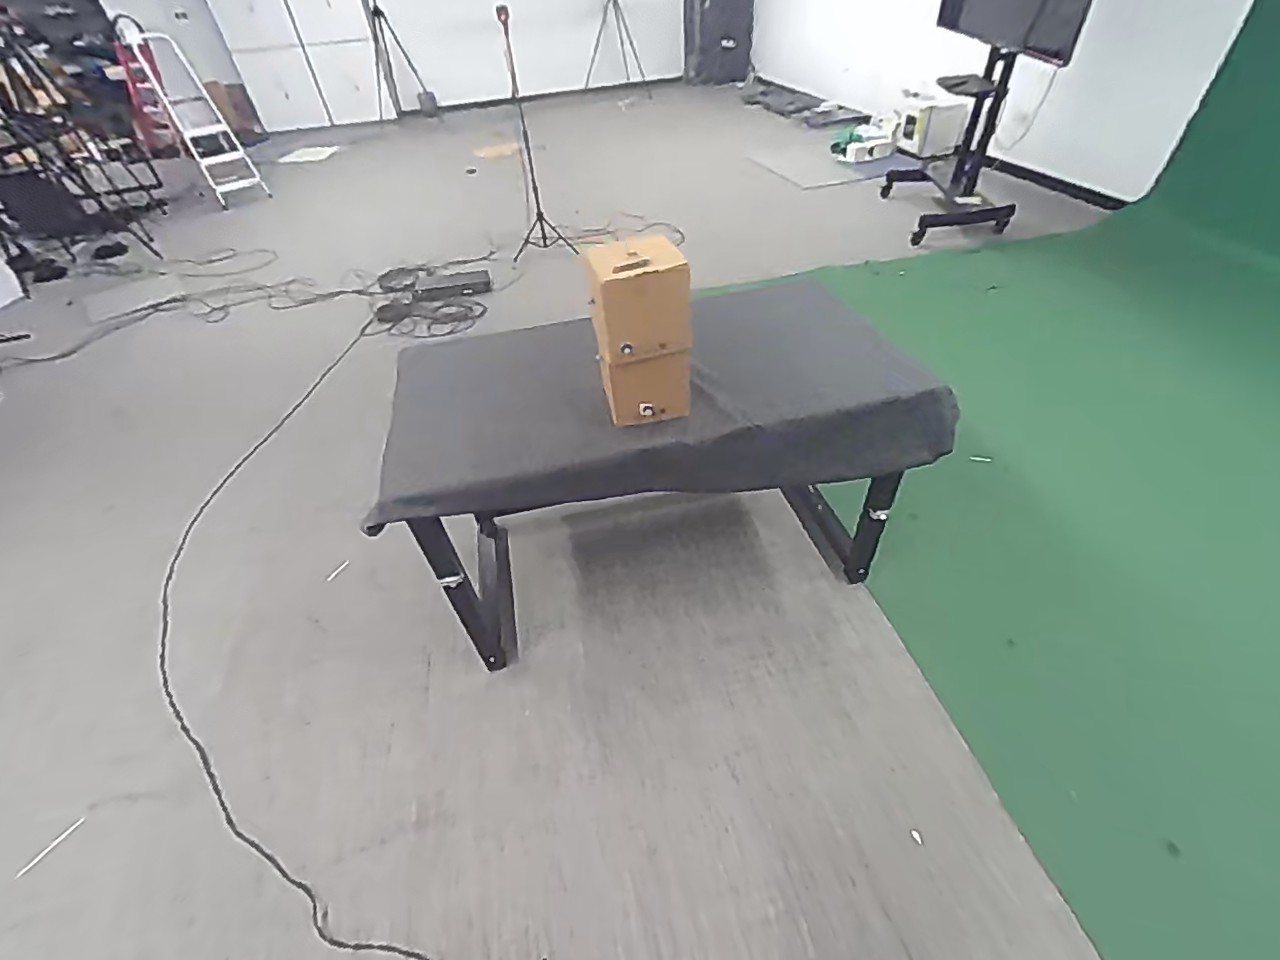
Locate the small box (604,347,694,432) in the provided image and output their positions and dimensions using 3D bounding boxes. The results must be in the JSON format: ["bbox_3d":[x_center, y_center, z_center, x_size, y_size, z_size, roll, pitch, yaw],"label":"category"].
[{"bbox_3d":[0.017,-0.230,1.177,0.168,0.176,0.179,-12,44,-5],"label":"small box"}]

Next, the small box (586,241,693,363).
[{"bbox_3d":[0.001,-0.343,1.057,0.168,0.176,0.179,-14,42,-7],"label":"small box"}]
